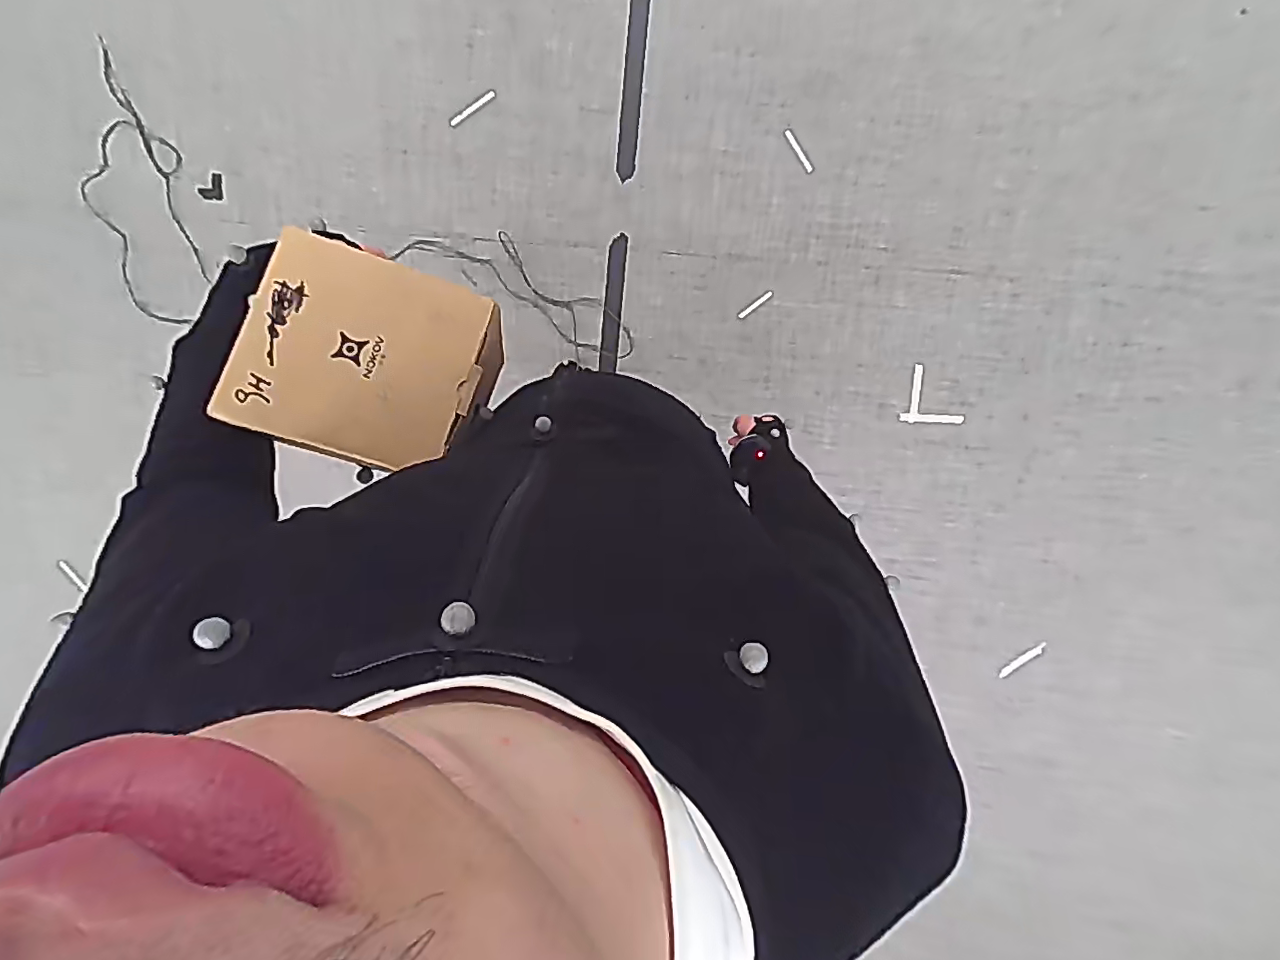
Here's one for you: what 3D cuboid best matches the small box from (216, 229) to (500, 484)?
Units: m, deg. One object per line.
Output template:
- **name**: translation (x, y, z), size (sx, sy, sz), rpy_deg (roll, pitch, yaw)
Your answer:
- **small box**: translation (-0.243, -0.097, 0.522), size (0.179, 0.176, 0.168), rpy_deg (18, 81, -11)
